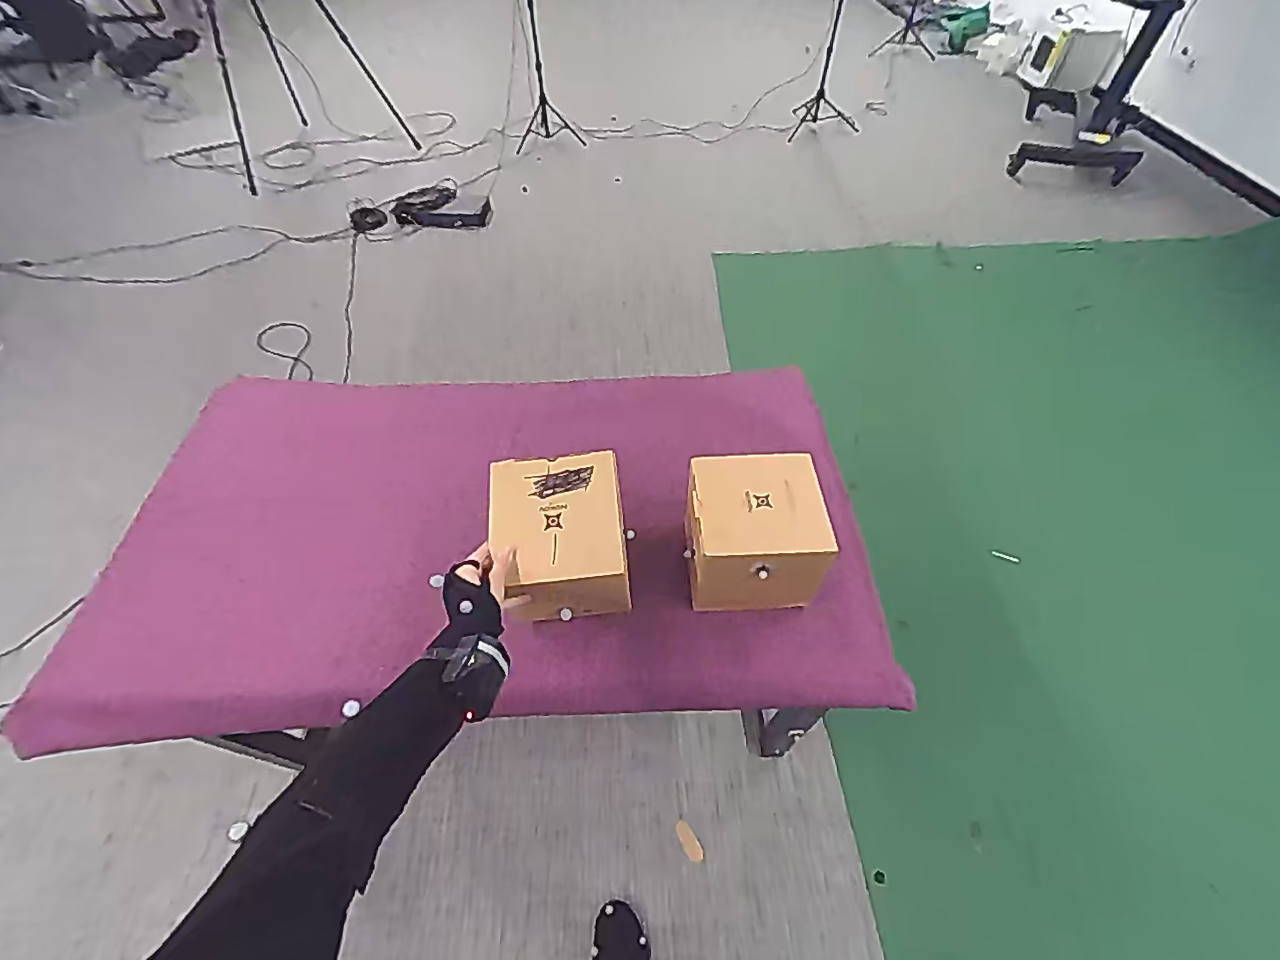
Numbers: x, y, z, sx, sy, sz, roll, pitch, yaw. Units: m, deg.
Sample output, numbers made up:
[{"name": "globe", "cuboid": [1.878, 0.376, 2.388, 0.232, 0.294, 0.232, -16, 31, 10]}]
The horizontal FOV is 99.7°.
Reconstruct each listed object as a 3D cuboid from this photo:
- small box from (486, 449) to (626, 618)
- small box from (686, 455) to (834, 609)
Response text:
[{"name": "small box", "cuboid": [-0.107, 0.078, 0.746, 0.168, 0.176, 0.179, -5, 62, -2]}, {"name": "small box", "cuboid": [0.159, 0.080, 0.790, 0.179, 0.176, 0.168, -1, 52, 0]}]
